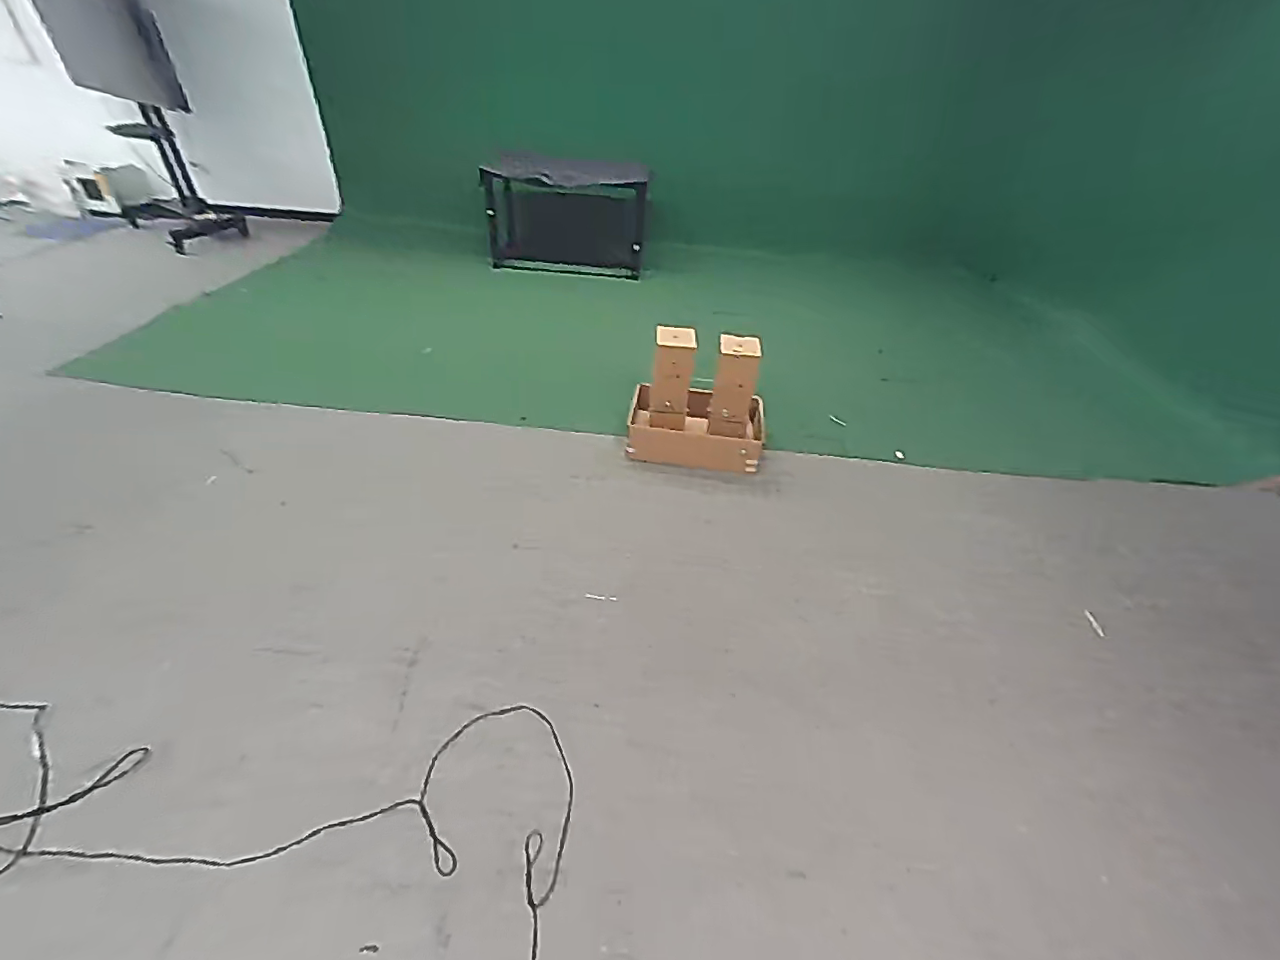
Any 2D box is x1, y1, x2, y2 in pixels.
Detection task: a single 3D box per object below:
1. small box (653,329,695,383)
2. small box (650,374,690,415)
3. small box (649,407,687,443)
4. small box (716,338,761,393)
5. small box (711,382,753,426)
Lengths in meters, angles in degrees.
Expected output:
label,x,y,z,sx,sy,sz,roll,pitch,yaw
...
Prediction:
label,x,y,z,sx,sy,sz,roll,pitch,yaw
small box,0.148,-0.541,2.366,0.168,0.176,0.179,5,40,-3
small box,0.134,-0.417,2.474,0.168,0.176,0.179,4,42,-2
small box,0.131,-0.298,2.589,0.168,0.176,0.179,5,40,-1
small box,0.421,-0.496,2.338,0.168,0.176,0.179,6,39,3
small box,0.414,-0.369,2.443,0.168,0.176,0.179,7,41,5
